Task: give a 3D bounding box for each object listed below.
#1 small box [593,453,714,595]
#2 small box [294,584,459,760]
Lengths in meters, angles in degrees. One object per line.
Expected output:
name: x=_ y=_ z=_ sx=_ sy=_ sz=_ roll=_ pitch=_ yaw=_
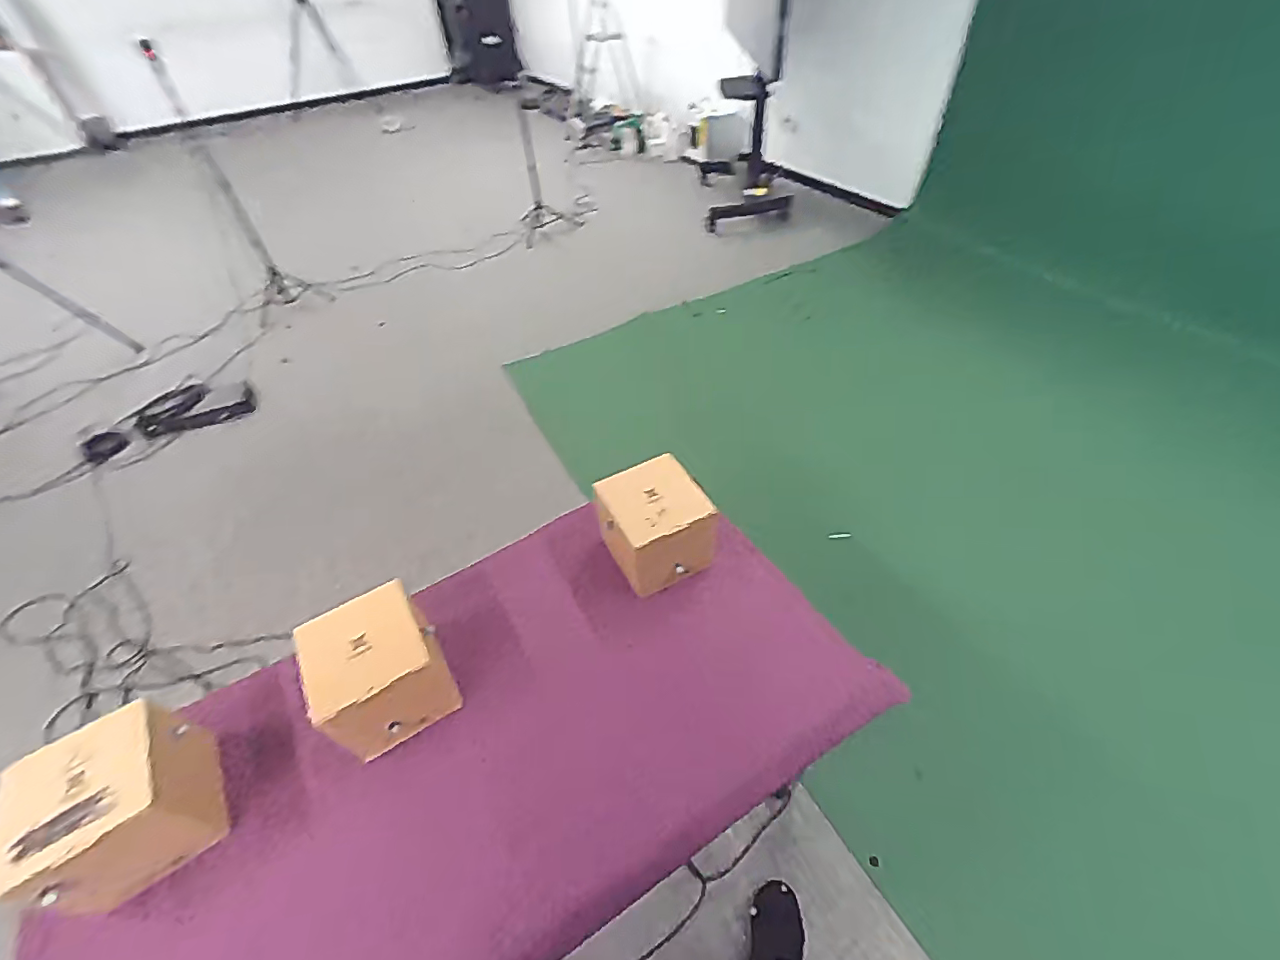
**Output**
small box: x=0.025 y=0.085 z=1.033 sx=0.168 sy=0.176 sz=0.179 roll=-24 pitch=50 yaw=-15
small box: x=-0.415 y=0.308 z=0.865 sx=0.168 sy=0.176 sz=0.179 roll=-28 pitch=52 yaw=-20
